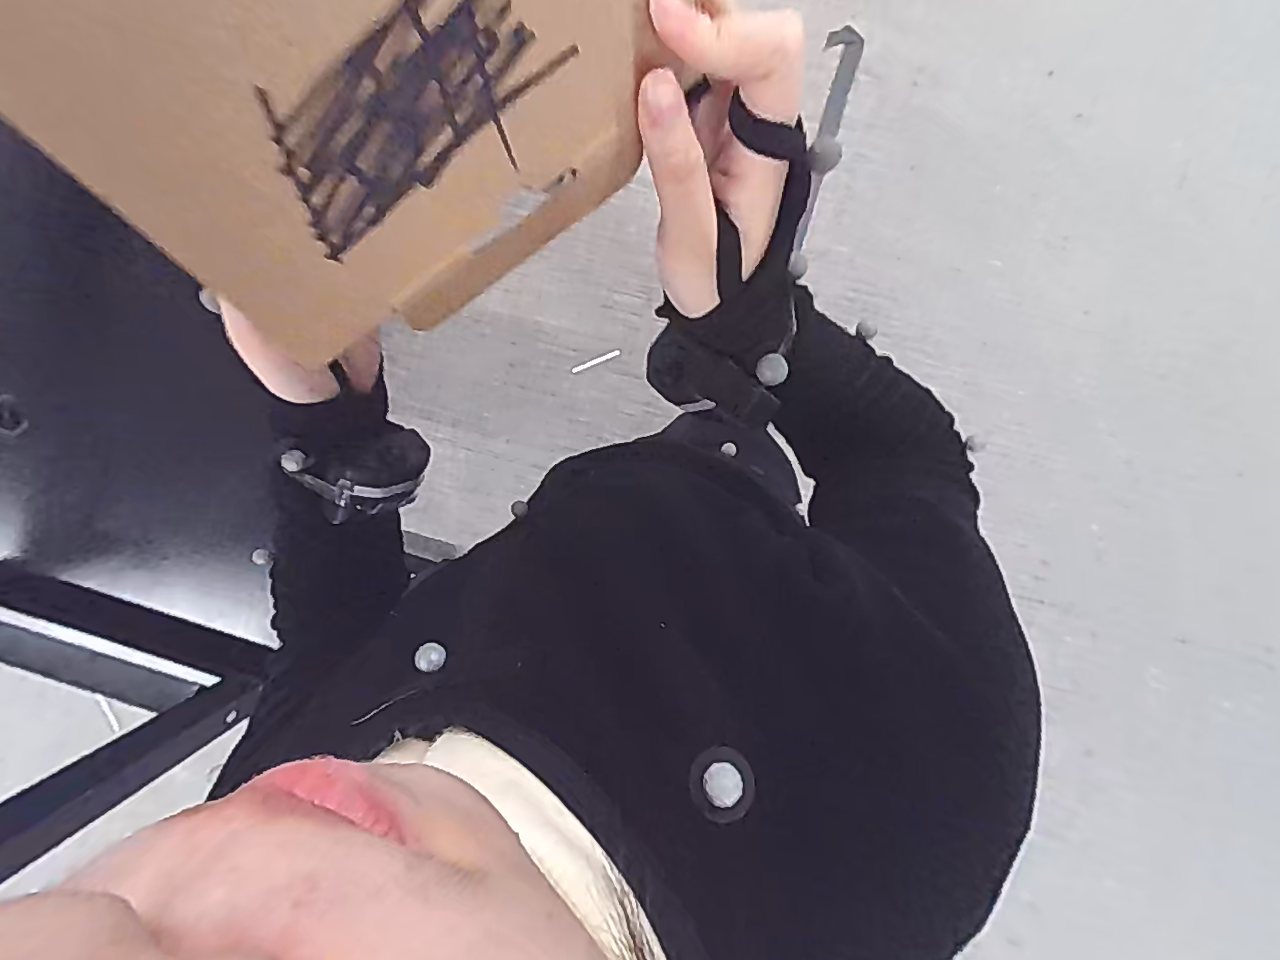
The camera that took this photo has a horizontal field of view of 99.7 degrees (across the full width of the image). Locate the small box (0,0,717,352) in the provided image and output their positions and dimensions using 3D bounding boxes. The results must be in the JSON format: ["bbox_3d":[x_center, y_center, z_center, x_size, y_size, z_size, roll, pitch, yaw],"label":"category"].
[{"bbox_3d":[-0.107,-0.177,0.149,0.168,0.179,0.176,-41,54,-8],"label":"small box"}]
